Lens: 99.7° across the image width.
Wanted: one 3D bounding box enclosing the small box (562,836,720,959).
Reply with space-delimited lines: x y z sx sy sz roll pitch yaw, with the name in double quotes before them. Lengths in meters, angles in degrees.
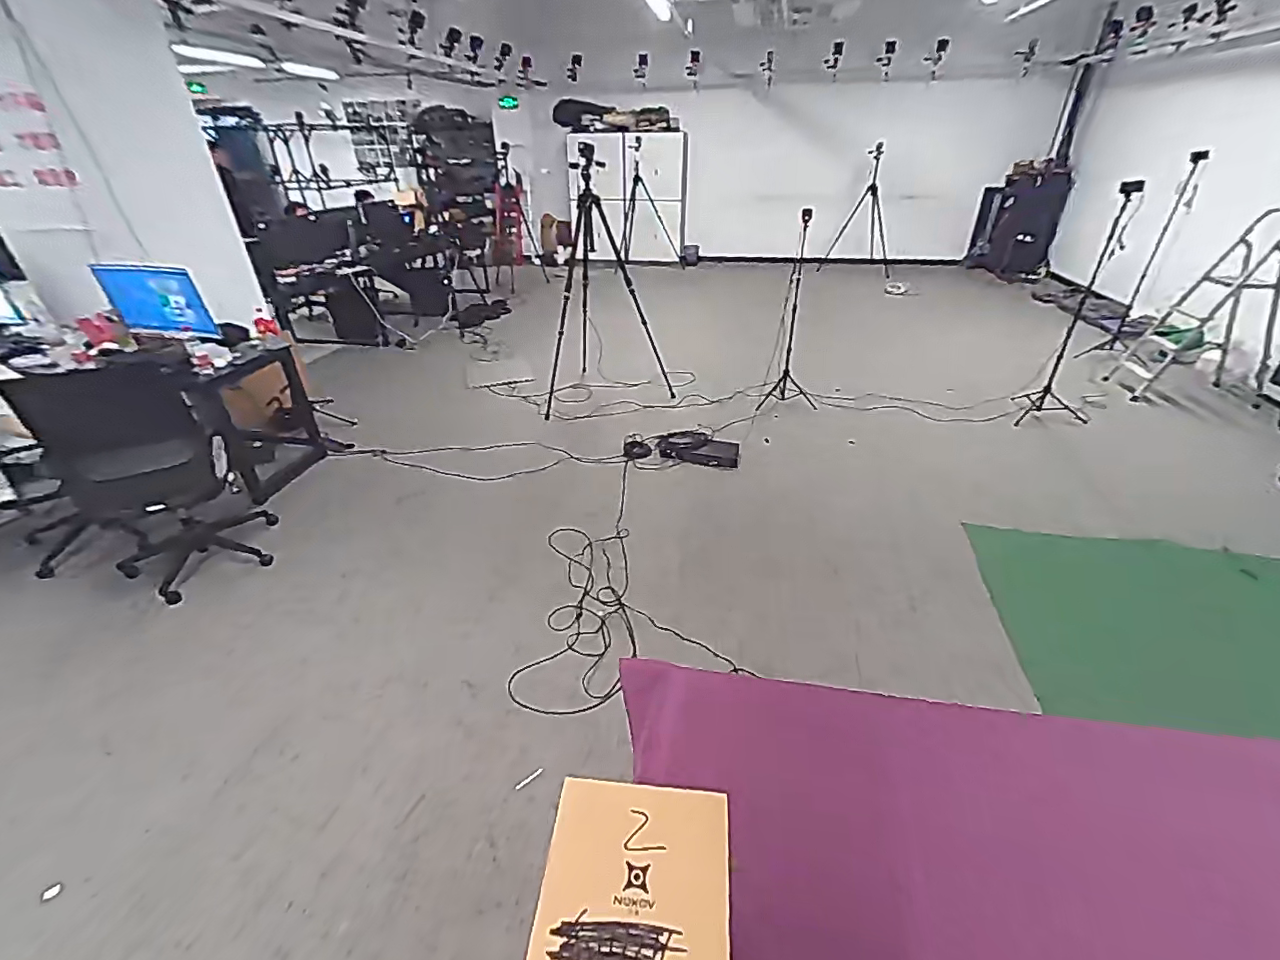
"small box" 0.006 0.549 0.625 0.168 0.176 0.179 3 37 6
